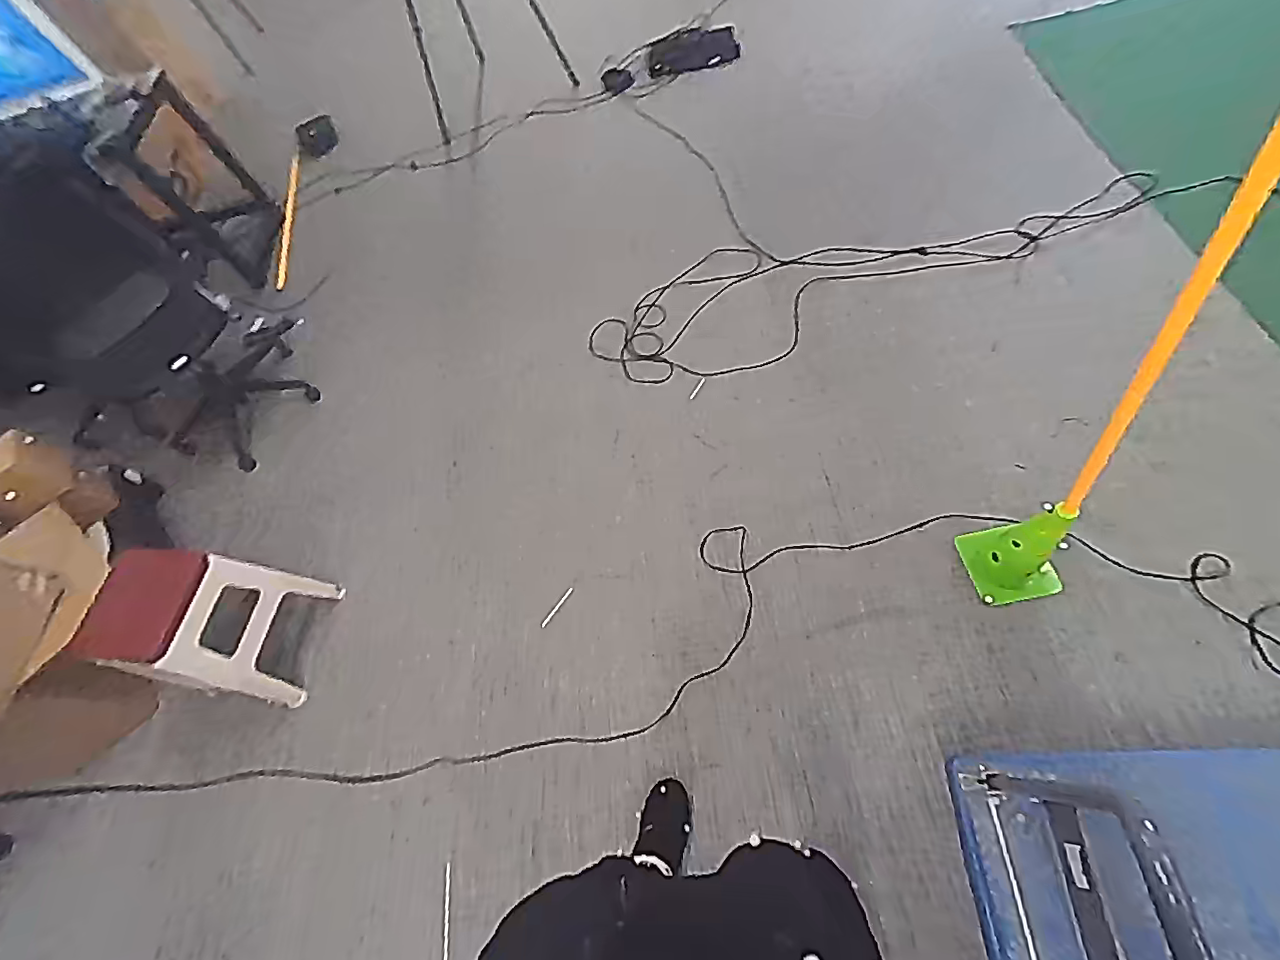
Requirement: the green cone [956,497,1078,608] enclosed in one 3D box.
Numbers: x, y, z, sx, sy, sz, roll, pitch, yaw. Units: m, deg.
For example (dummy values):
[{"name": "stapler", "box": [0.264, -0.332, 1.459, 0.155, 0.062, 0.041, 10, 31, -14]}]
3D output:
[{"name": "green cone", "box": [0.934, 0.143, 1.275, 0.200, 0.368, 0.202, -14, 59, 6]}]
